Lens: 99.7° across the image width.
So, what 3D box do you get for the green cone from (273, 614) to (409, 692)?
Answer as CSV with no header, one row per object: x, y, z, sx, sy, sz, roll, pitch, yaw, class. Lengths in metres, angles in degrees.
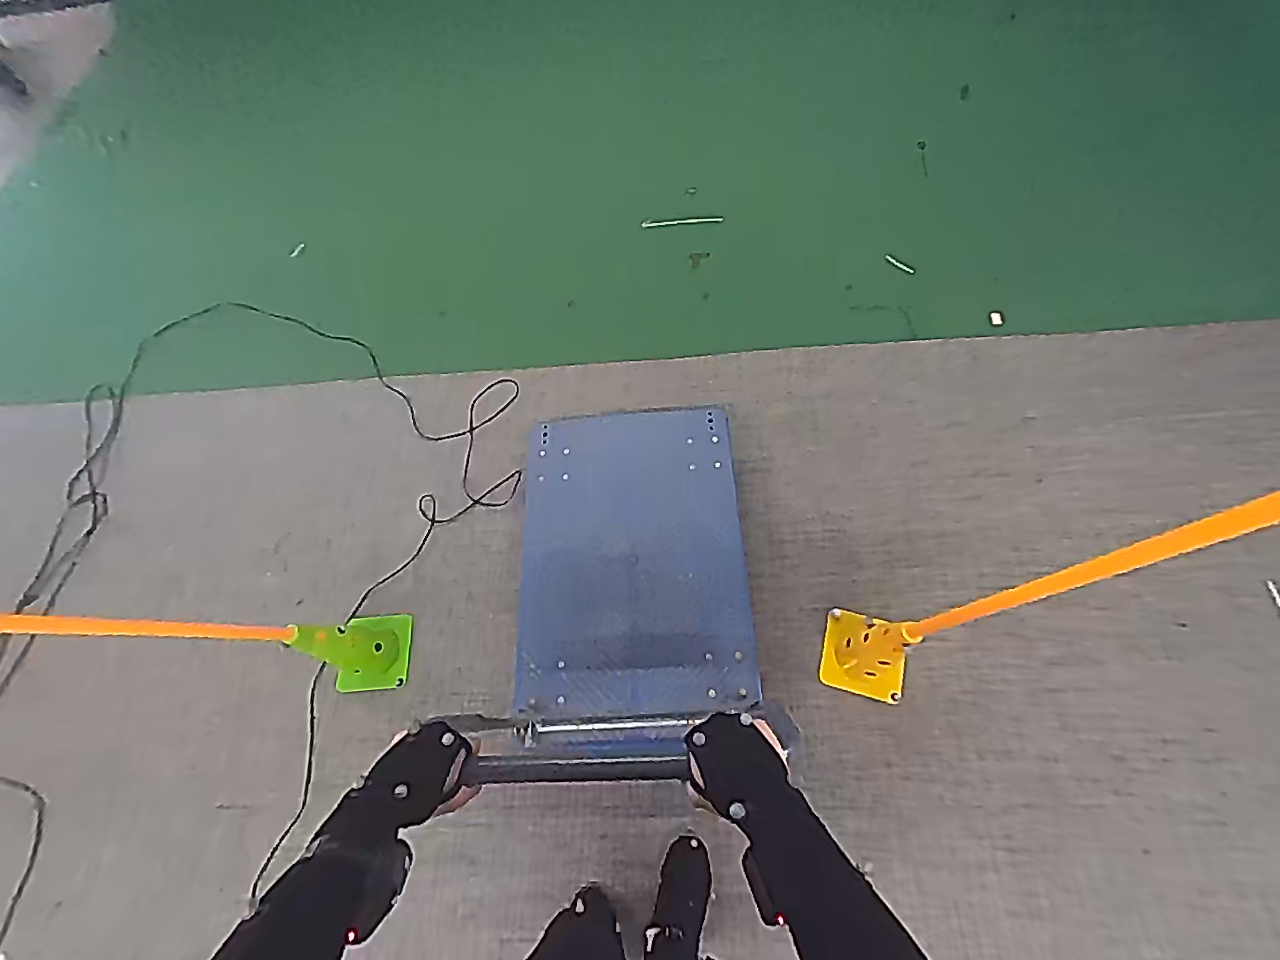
-0.772,0.414,1.367,0.202,0.368,0.200,-7,65,5,green cone
